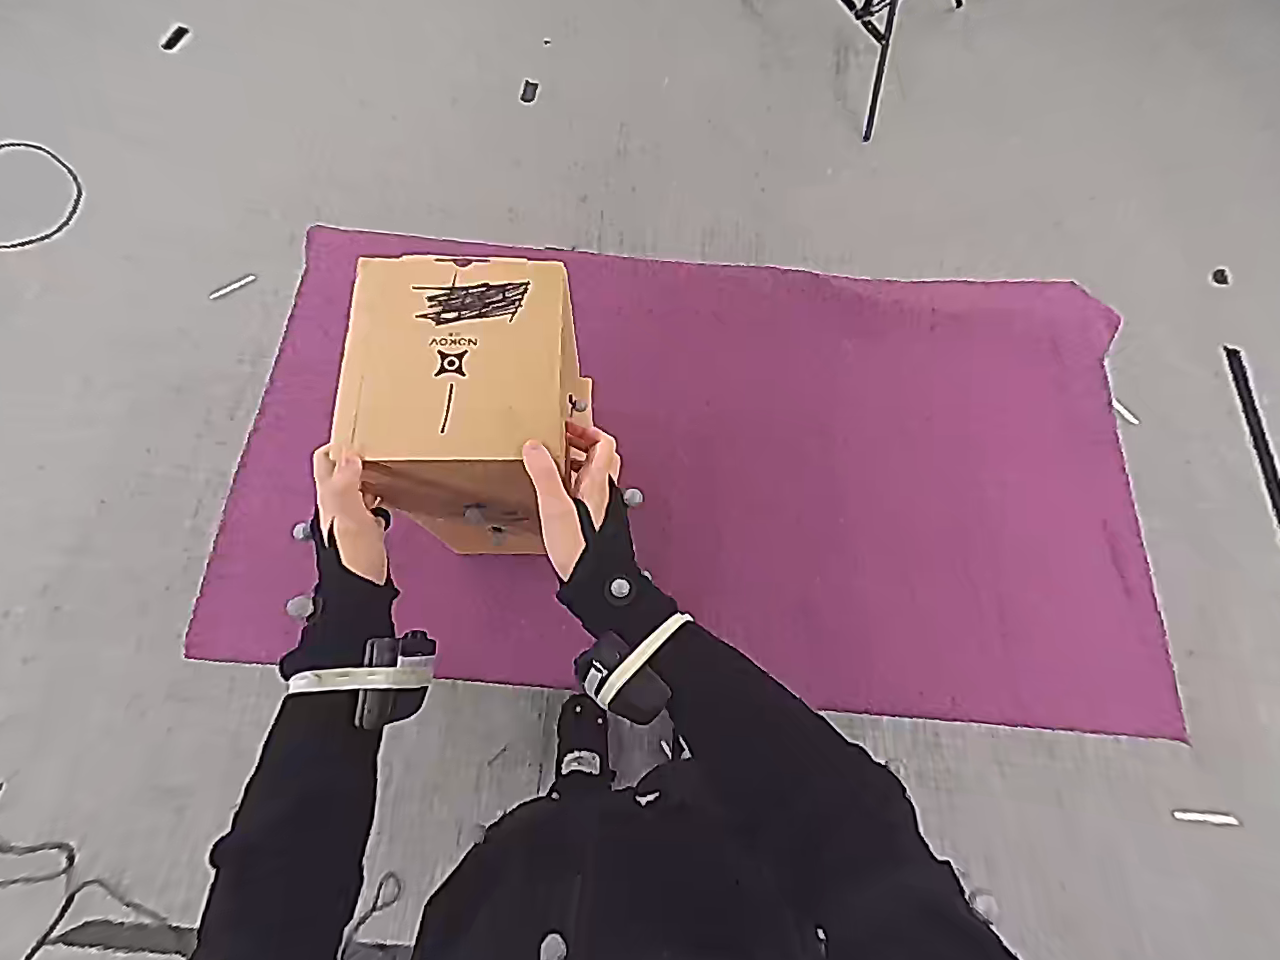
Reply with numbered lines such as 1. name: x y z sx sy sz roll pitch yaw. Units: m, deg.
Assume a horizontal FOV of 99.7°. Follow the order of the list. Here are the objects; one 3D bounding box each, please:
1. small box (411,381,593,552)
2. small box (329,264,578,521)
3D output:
1. small box: -0.147 -0.010 0.646 0.179 0.176 0.168 1 72 -2
2. small box: -0.146 -0.068 0.491 0.168 0.176 0.179 -1 72 -2
